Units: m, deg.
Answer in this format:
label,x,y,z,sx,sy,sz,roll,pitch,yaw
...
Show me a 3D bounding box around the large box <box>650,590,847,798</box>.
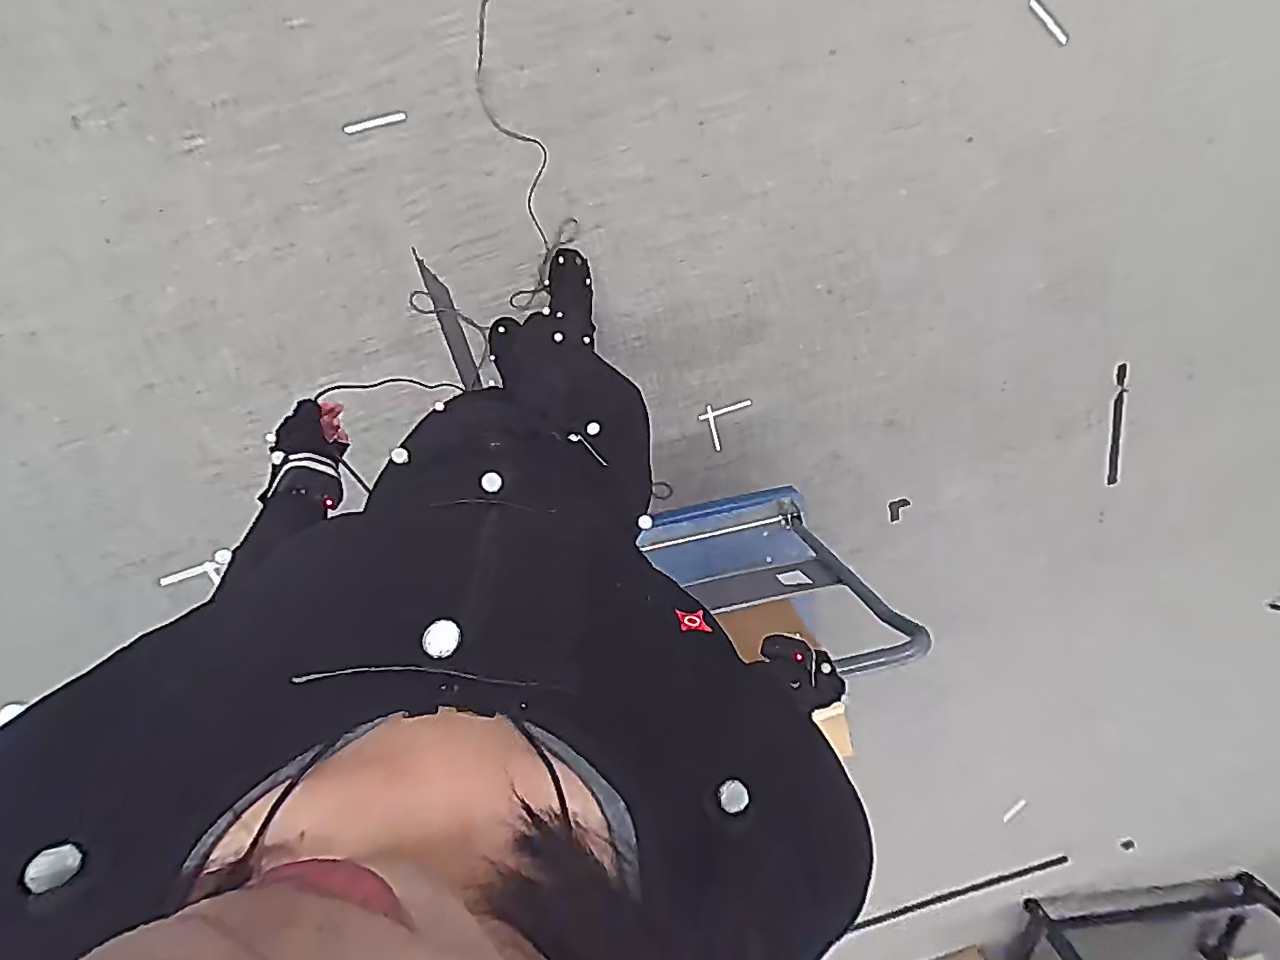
label,x,y,z,sx,sy,sz,roll,pitch,yaw
large box,0.274,0.553,1.445,0.408,0.320,0.320,-19,109,1
